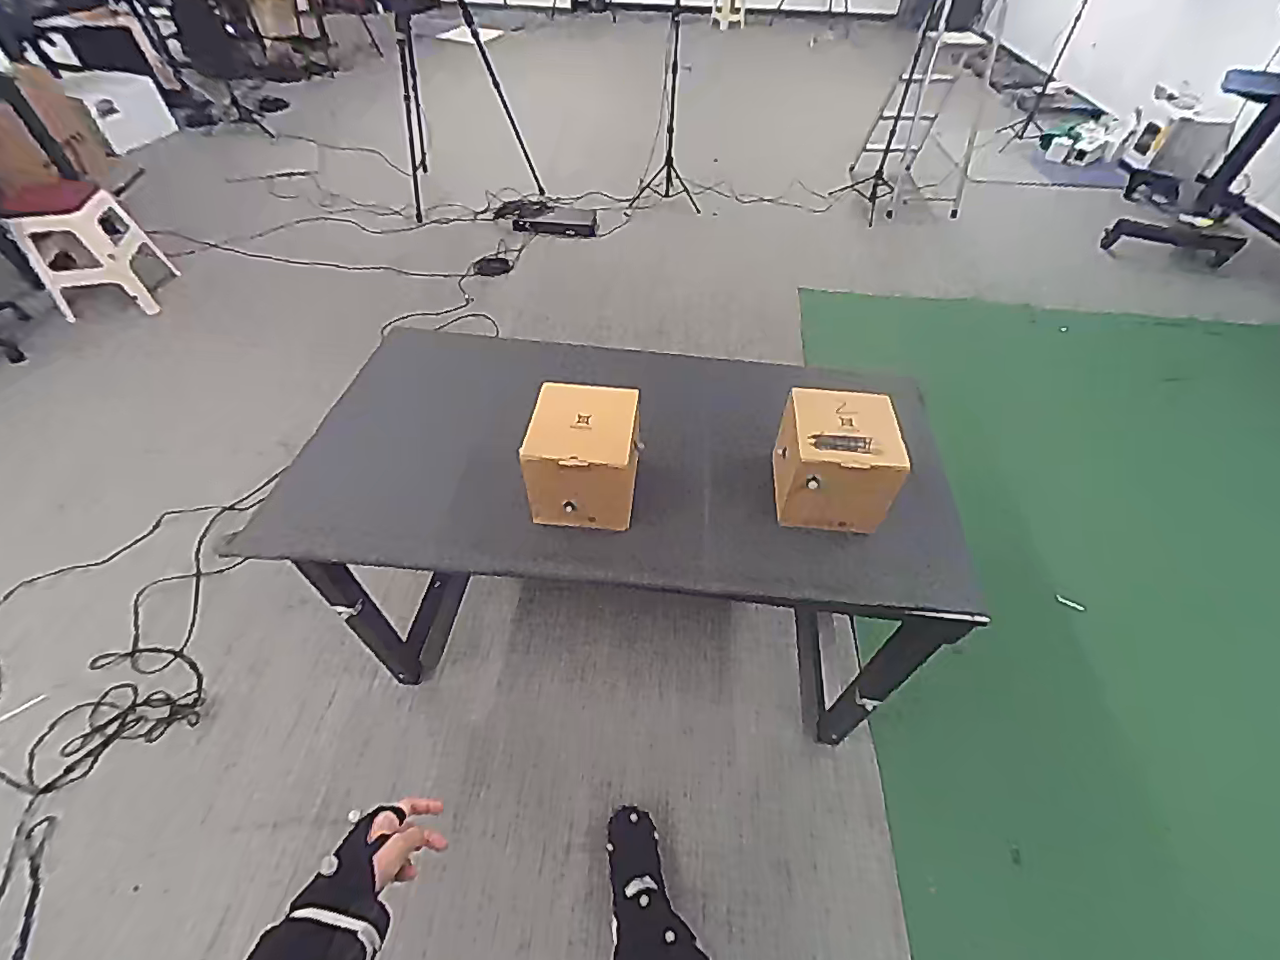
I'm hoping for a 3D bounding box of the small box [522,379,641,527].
[{"bbox_3d":[-0.092,-0.044,0.915,0.168,0.176,0.179,6,50,2],"label":"small box"}]
